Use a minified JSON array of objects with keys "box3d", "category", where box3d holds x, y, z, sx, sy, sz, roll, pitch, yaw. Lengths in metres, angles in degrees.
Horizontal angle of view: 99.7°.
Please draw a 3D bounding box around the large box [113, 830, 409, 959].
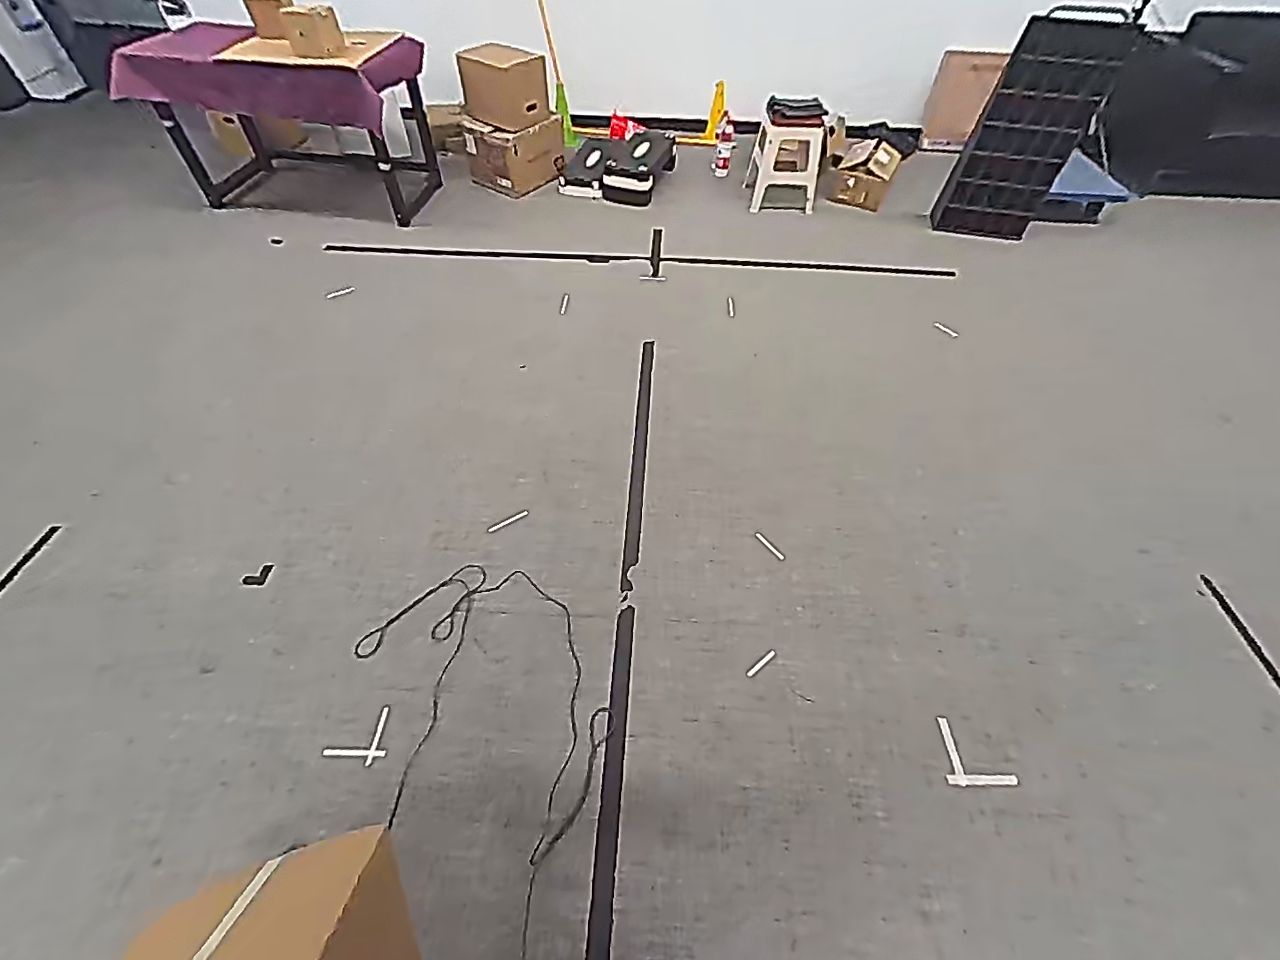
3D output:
[{"box3d":[-0.480,0.722,0.637,0.320,0.408,0.320,-14,90,-11],"category":"large box"}]
